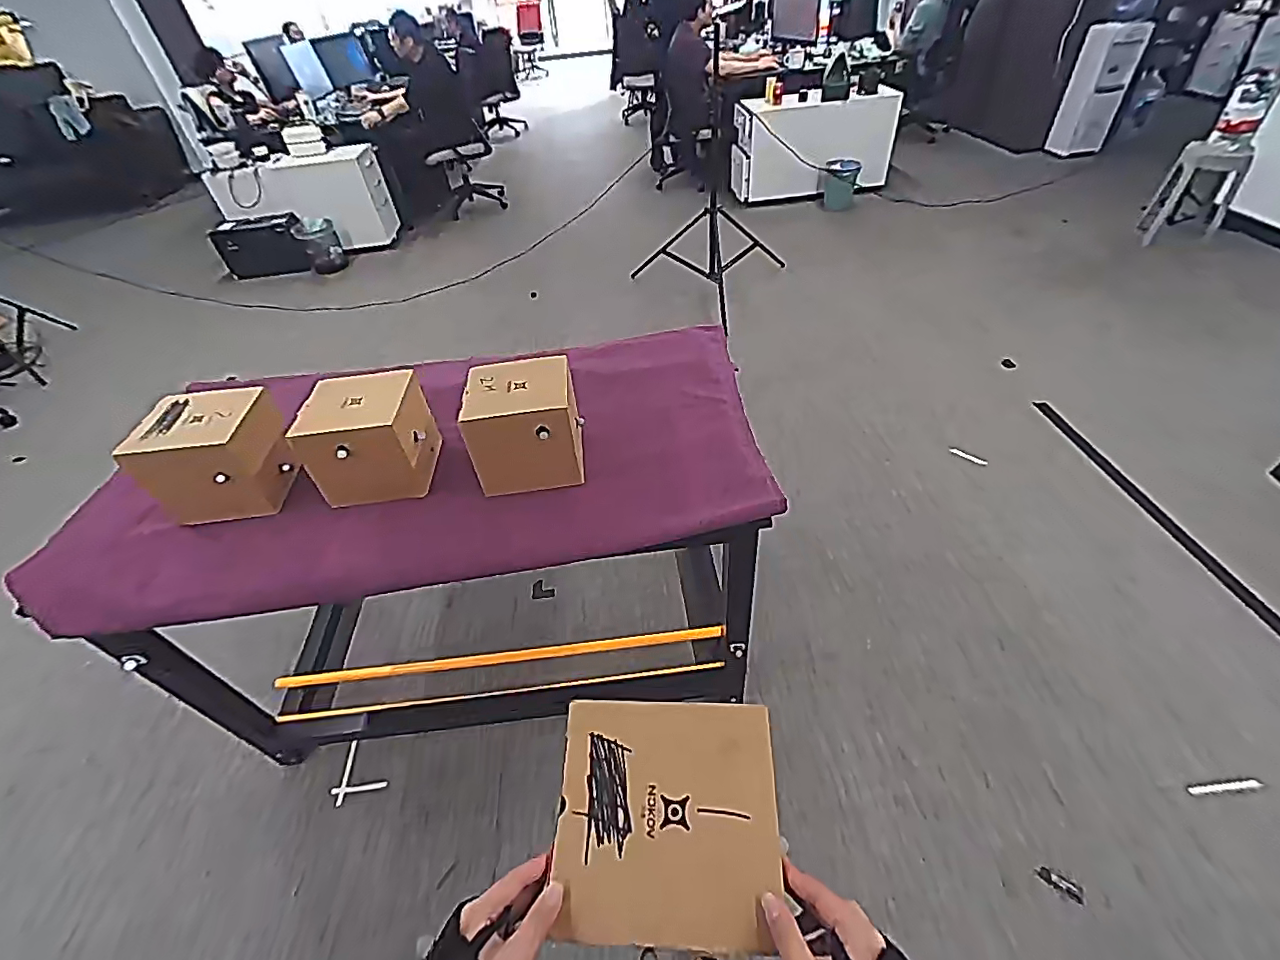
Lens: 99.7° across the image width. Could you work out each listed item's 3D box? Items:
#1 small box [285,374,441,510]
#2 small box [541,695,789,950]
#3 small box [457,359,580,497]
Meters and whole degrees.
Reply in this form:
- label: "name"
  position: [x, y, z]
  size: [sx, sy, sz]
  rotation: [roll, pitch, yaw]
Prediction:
- label: "small box"
  position: [-0.478, -0.067, 0.970]
  size: [0.179, 0.176, 0.168]
  rotation: [-8, 43, 0]
- label: "small box"
  position: [0.029, 0.304, 0.481]
  size: [0.179, 0.176, 0.168]
  rotation: [-1, 50, 7]
- label: "small box"
  position: [-0.201, -0.090, 0.953]
  size: [0.179, 0.176, 0.168]
  rotation: [-8, 42, -1]
